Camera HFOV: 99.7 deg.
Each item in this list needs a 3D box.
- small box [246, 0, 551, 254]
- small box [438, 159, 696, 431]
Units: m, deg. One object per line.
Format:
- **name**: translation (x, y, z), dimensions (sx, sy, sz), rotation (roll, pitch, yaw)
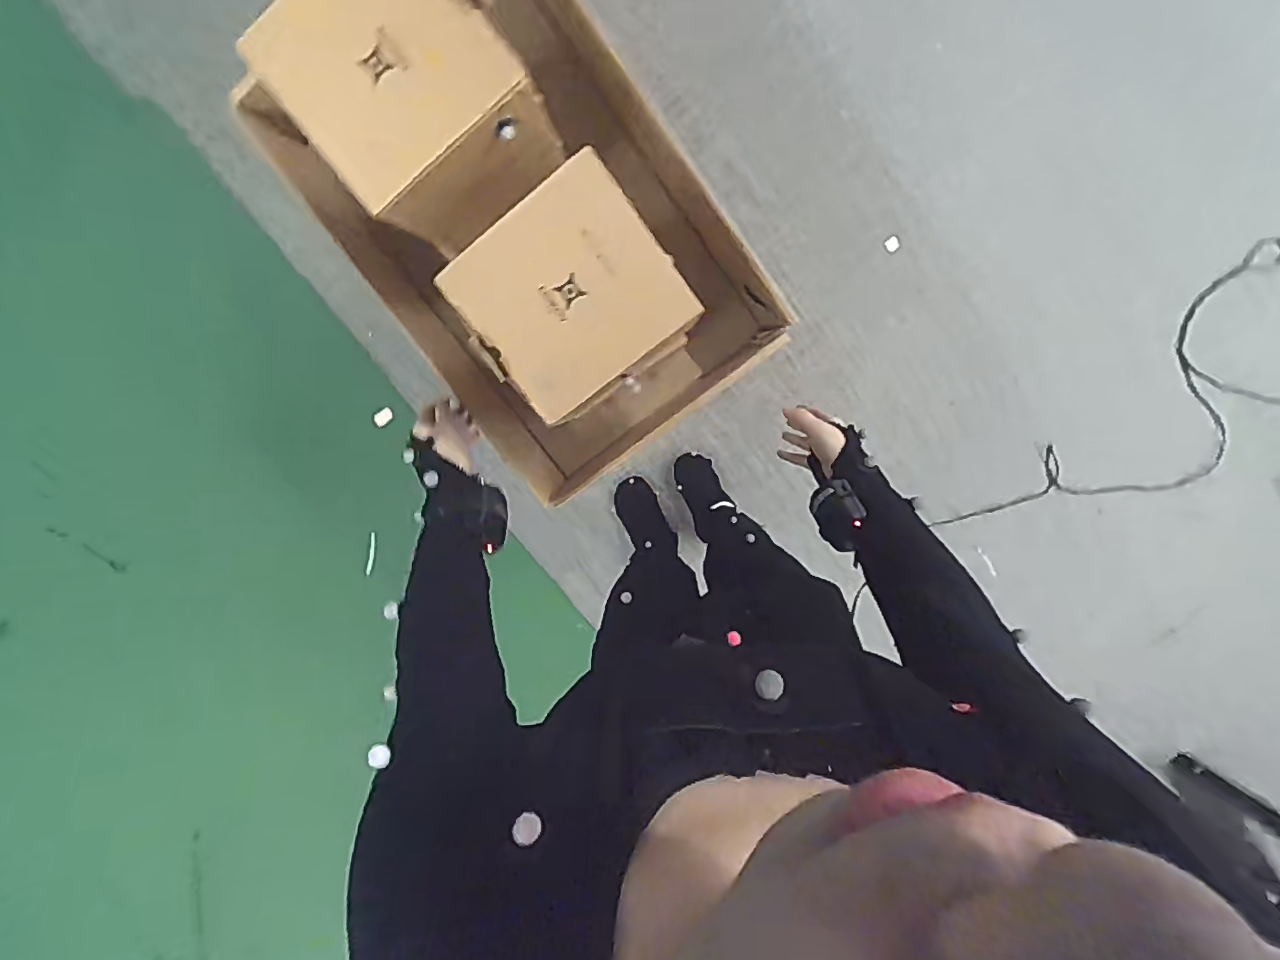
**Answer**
- **small box**: translation (-0.209, -0.350, 0.524), dimensions (0.179, 0.176, 0.168), rotation (-38, 99, 8)
- **small box**: translation (-0.061, -0.171, 0.553), dimensions (0.179, 0.176, 0.168), rotation (-37, 98, 8)
